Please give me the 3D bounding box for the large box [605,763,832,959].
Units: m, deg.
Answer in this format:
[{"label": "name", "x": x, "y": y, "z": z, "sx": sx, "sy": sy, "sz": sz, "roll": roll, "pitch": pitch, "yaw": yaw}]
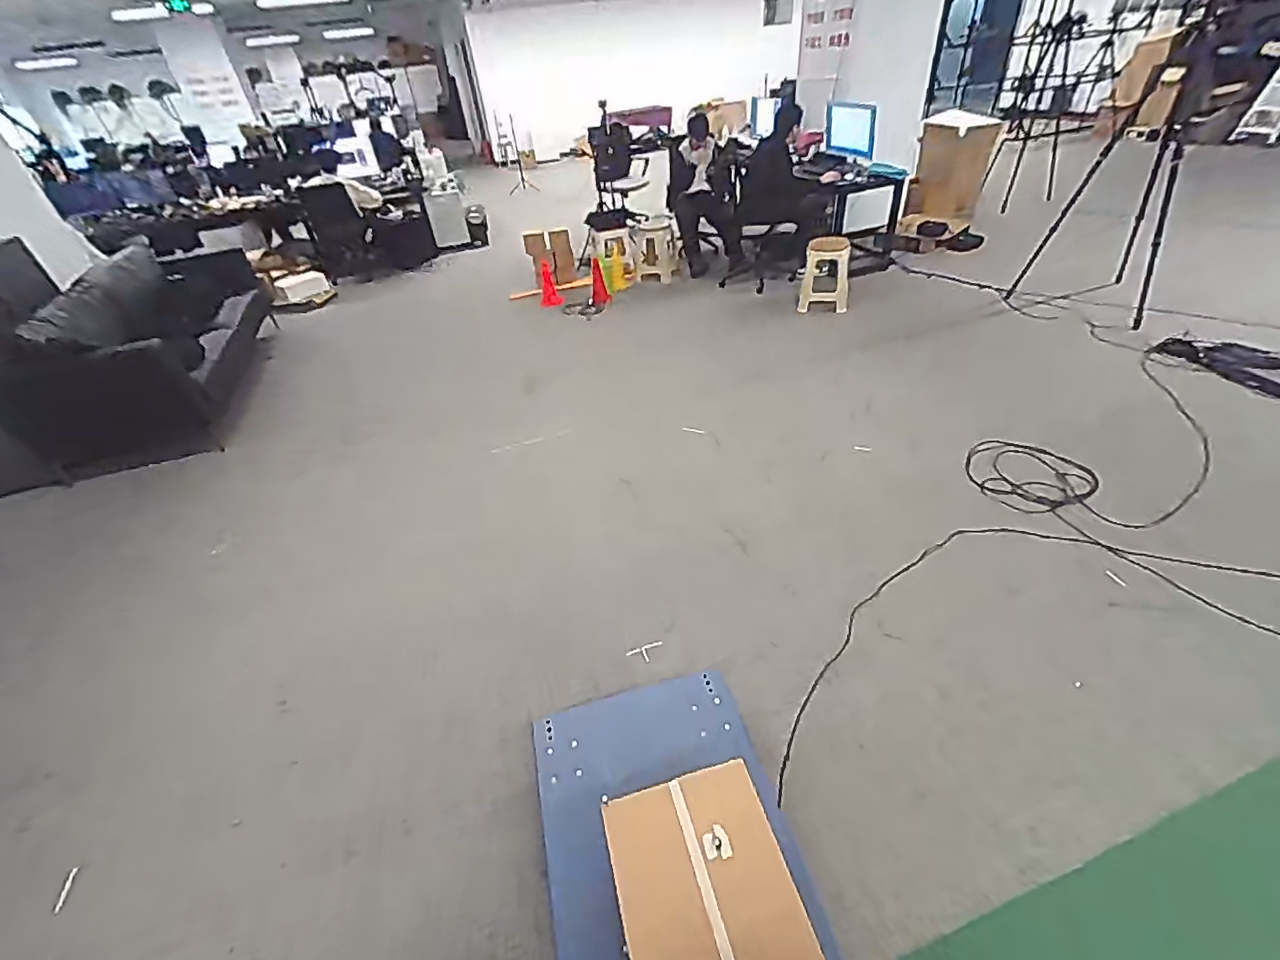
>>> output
[{"label": "large box", "x": 0.143, "y": 0.858, "z": 1.048, "sx": 0.320, "sy": 0.320, "sz": 0.408, "roll": -13, "pitch": 38, "yaw": -9}]
